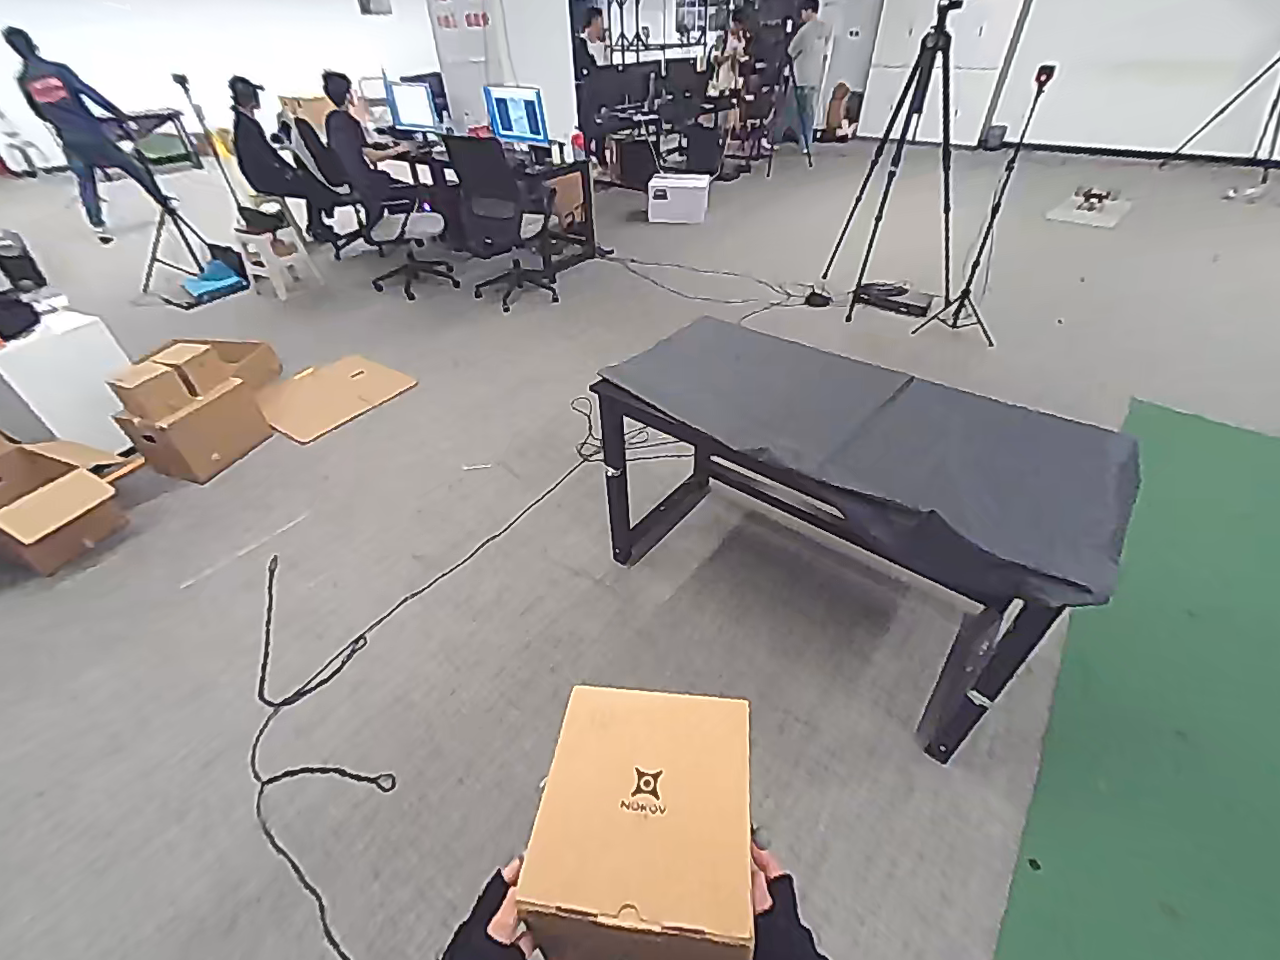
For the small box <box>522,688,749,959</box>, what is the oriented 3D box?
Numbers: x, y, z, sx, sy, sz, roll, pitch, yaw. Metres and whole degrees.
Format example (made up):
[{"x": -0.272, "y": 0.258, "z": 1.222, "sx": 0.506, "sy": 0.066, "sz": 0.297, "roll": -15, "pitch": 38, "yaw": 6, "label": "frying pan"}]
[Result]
[{"x": 0.010, "y": 0.320, "z": 0.491, "sx": 0.168, "sy": 0.176, "sz": 0.179, "roll": 2, "pitch": 37, "yaw": 9, "label": "small box"}]
